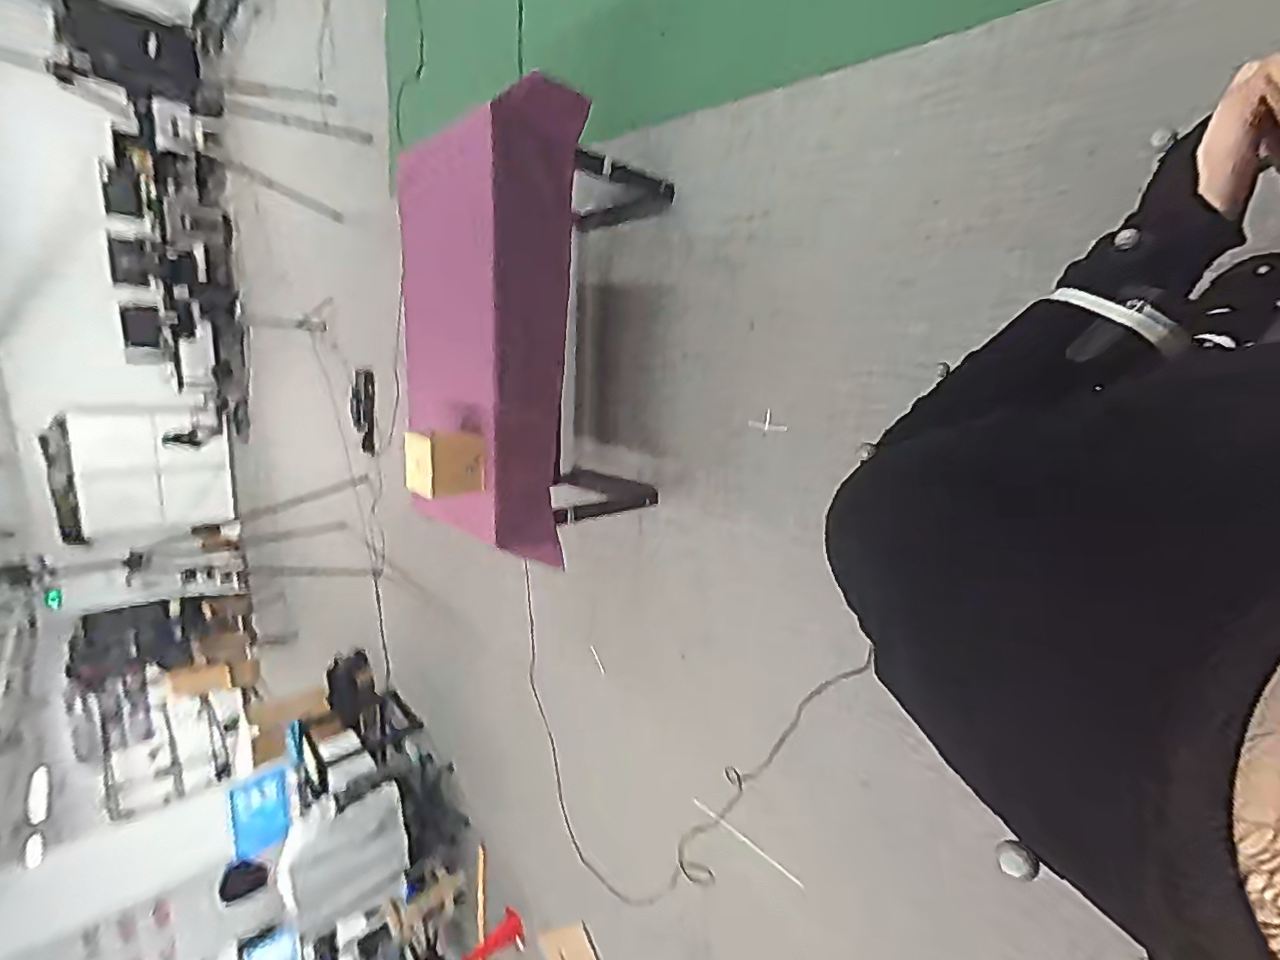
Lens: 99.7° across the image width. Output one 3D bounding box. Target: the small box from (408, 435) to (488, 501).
[{"bbox_3d":[-0.574,-0.042,1.611,0.179,0.176,0.168,15,106,43],"label":"small box"}]
